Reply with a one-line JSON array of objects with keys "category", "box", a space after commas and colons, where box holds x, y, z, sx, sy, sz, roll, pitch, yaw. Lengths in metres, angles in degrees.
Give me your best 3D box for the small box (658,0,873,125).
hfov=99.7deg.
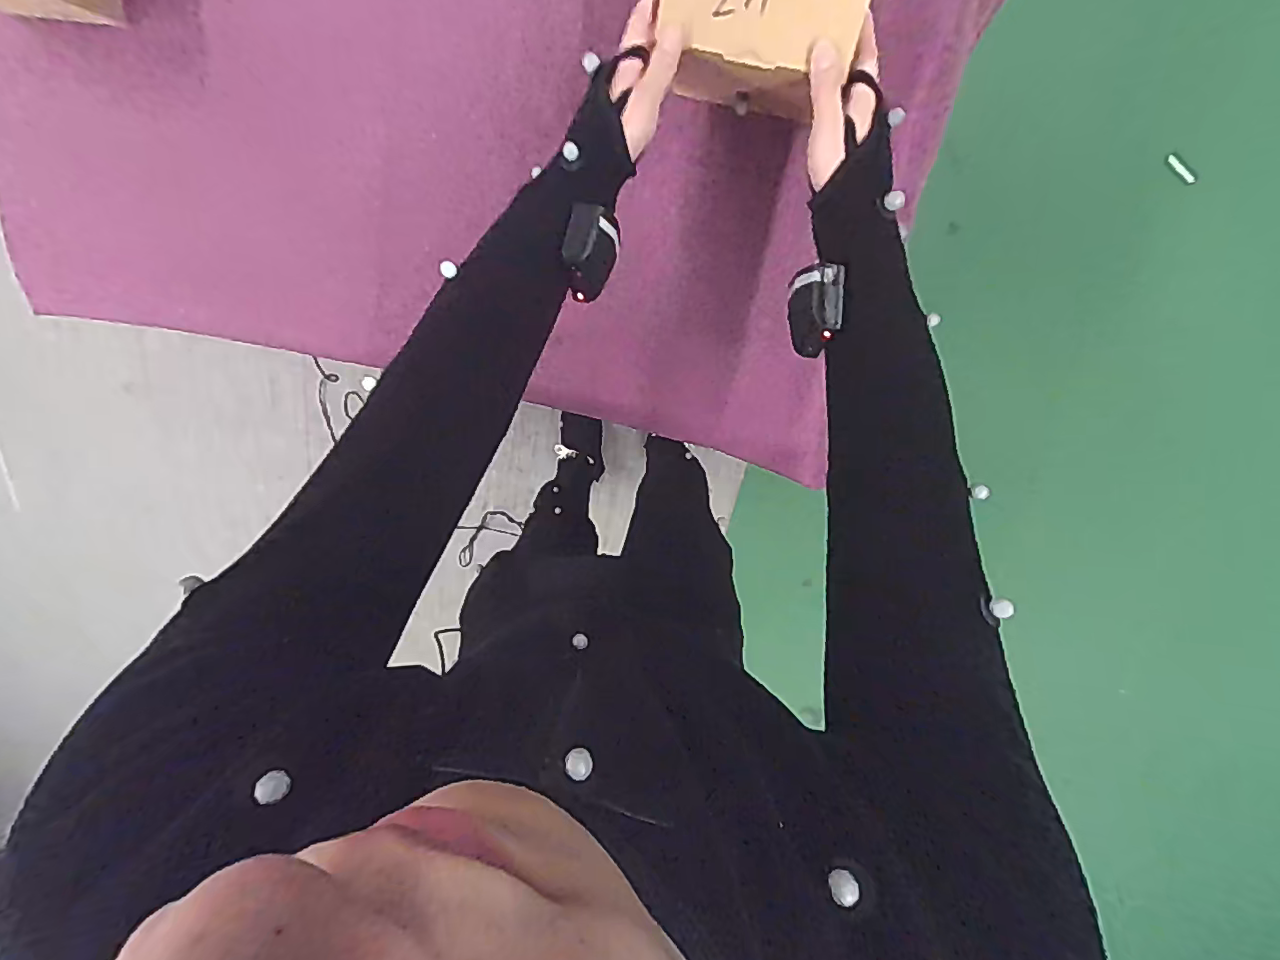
[{"category": "small box", "box": [0.122, -0.454, 0.490, 0.168, 0.176, 0.179, 15, 115, 3]}]
